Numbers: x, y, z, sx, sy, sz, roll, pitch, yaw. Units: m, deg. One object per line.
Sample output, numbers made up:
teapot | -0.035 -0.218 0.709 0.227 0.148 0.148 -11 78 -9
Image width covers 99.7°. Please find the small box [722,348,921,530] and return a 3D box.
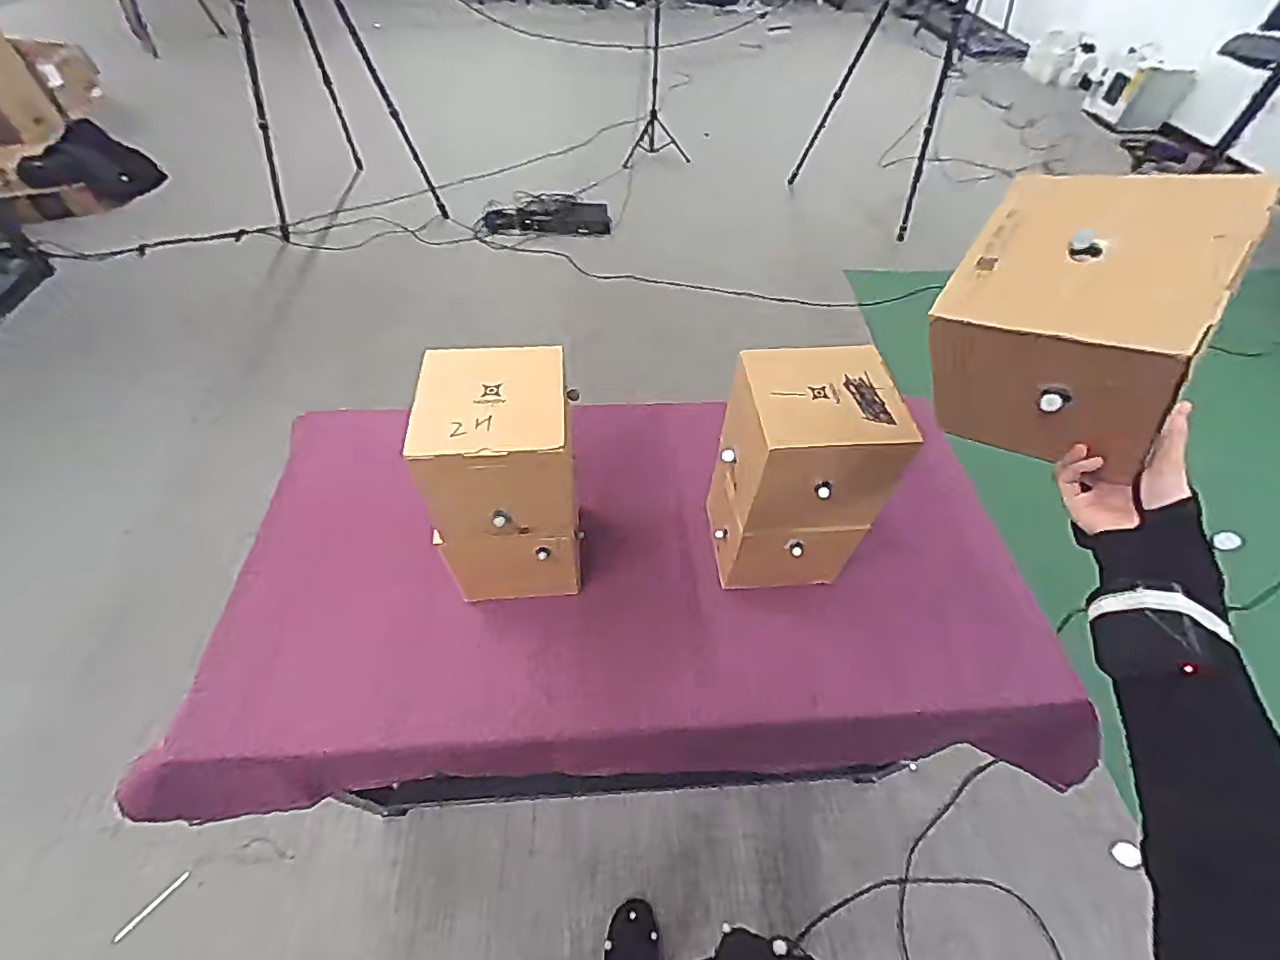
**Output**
small box | 0.213 -0.049 0.693 0.179 0.176 0.168 -3 52 -3

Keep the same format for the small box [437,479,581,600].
small box | -0.181 0.067 0.800 0.179 0.176 0.168 -3 52 -5

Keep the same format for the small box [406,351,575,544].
small box | -0.169 -0.040 0.674 0.168 0.176 0.179 -3 51 -5

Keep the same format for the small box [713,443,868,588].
small box | 0.210 0.054 0.821 0.179 0.176 0.168 -2 52 -4

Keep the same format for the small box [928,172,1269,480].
small box | 0.372 -0.131 0.471 0.176 0.179 0.168 26 77 41
